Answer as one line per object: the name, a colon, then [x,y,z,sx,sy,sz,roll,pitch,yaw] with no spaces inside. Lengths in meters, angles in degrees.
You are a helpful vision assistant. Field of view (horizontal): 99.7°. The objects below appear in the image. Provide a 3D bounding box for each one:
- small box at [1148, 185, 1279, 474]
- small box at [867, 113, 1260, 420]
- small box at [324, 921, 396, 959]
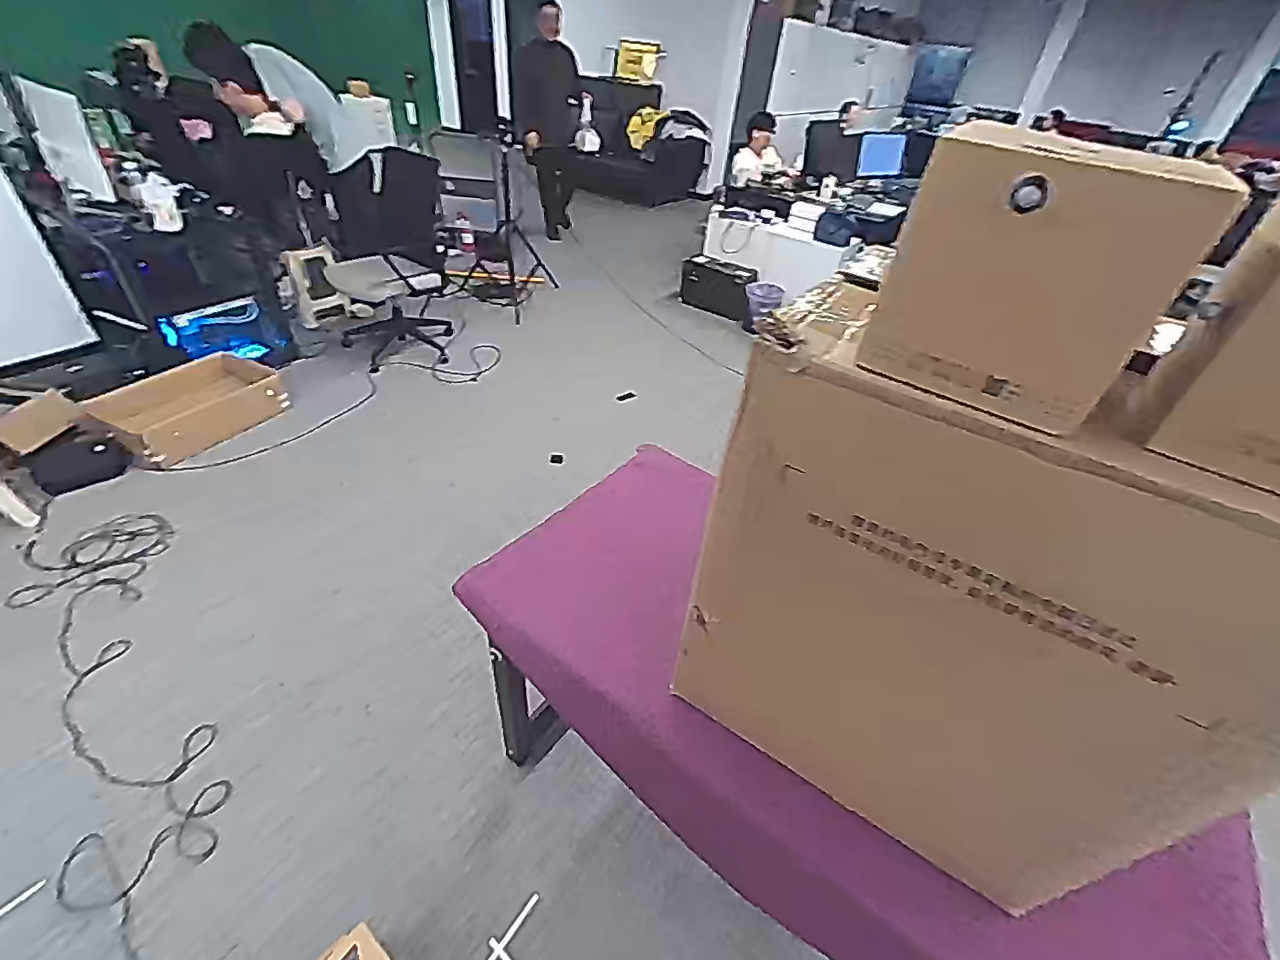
small box: [0.492,-0.098,0.363,0.168,0.176,0.179,30,43,27]
small box: [0.304,-0.174,0.428,0.168,0.176,0.179,27,42,23]
small box: [-0.532,0.998,1.017,0.179,0.176,0.168,30,44,27]
